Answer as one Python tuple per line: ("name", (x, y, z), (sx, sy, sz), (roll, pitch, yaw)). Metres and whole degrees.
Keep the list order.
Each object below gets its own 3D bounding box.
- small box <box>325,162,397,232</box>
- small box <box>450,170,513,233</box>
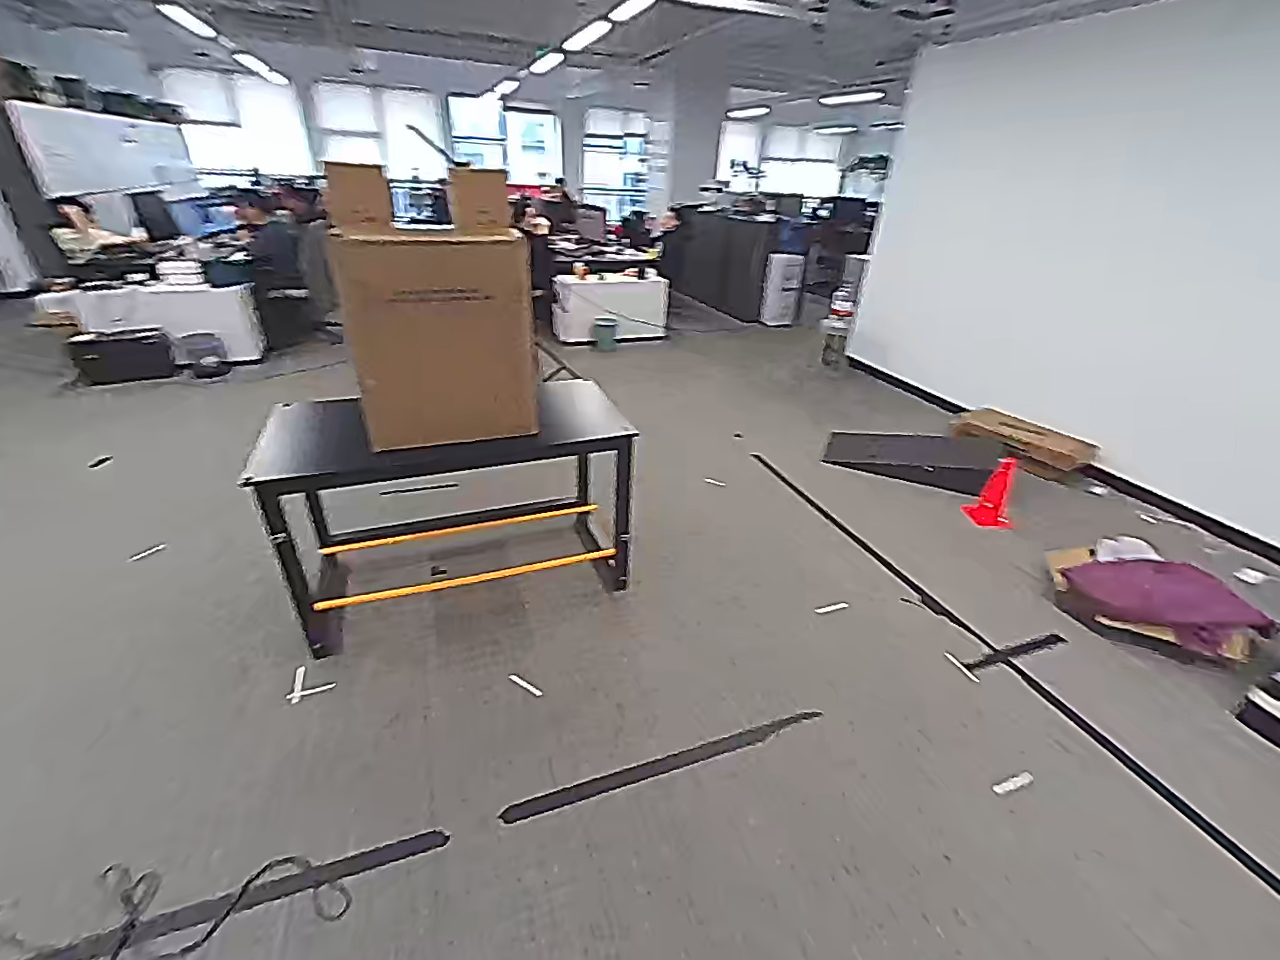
("small box", (-0.840, -0.852, 1.631), (0.168, 0.176, 0.179), (-11, 32, -25))
("small box", (-0.507, -0.891, 1.730), (0.168, 0.176, 0.179), (-10, 31, -19))
